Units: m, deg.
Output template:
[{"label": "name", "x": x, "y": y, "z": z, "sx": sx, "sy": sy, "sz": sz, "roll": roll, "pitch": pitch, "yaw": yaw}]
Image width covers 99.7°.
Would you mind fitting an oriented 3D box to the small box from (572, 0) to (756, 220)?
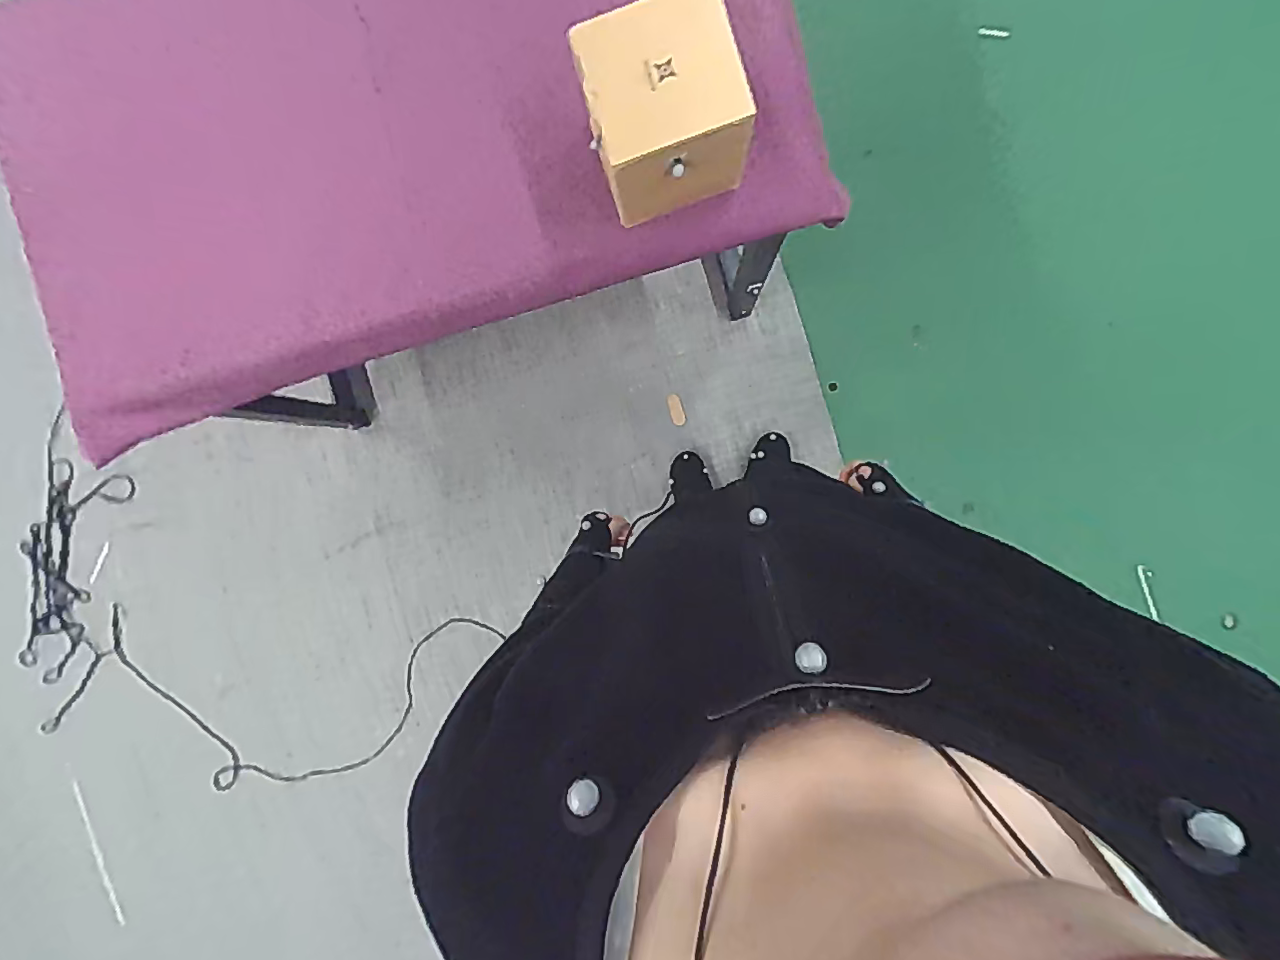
[{"label": "small box", "x": 0.033, "y": -0.469, "z": 0.693, "sx": 0.179, "sy": 0.176, "sz": 0.168, "roll": -18, "pitch": 91, "yaw": 7}]
